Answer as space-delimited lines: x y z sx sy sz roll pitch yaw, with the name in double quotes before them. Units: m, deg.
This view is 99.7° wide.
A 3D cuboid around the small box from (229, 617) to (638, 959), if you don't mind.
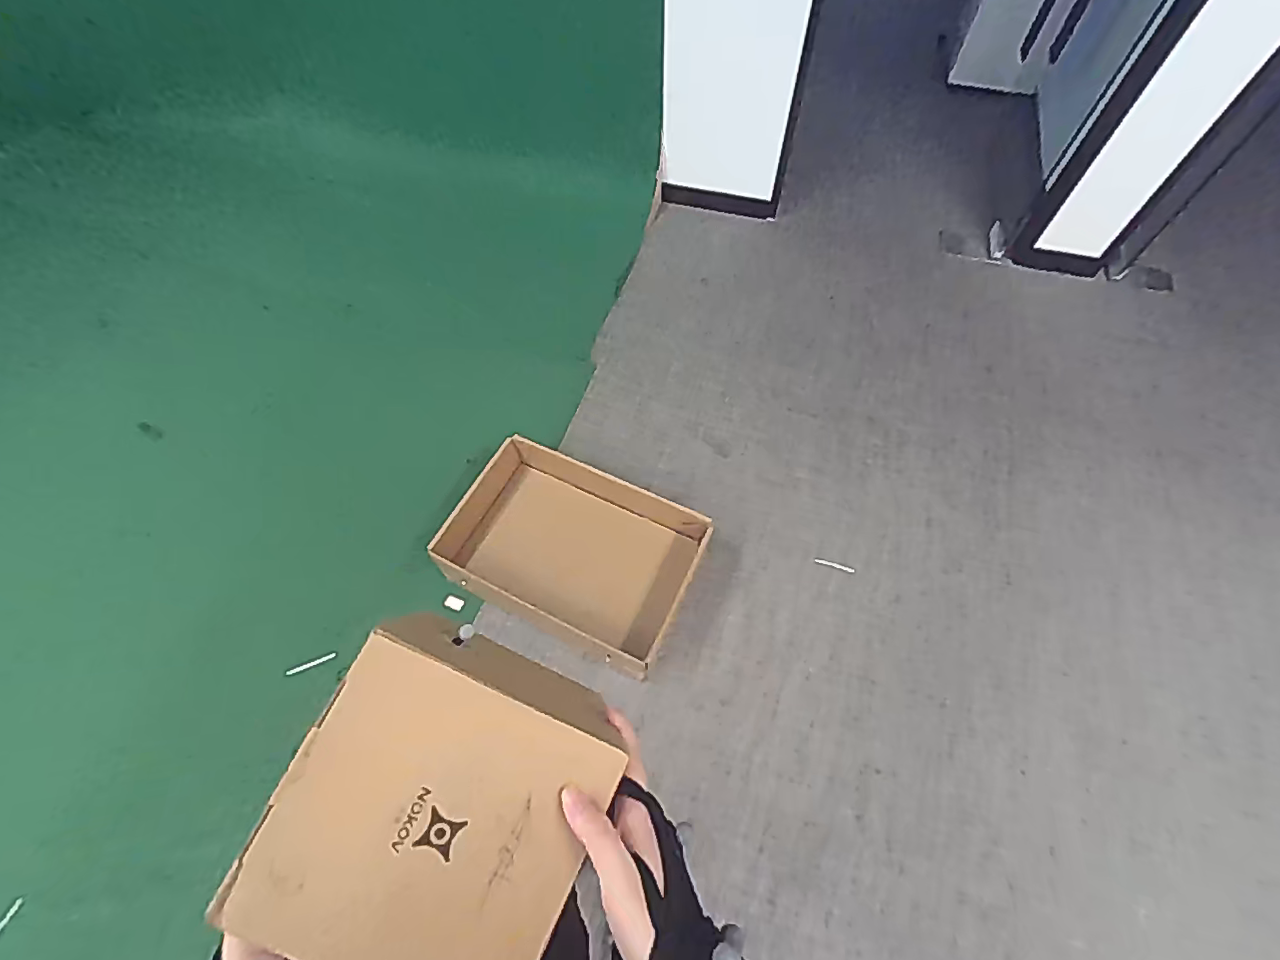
"small box" -0.127 0.212 0.393 0.179 0.176 0.168 29 77 -5
